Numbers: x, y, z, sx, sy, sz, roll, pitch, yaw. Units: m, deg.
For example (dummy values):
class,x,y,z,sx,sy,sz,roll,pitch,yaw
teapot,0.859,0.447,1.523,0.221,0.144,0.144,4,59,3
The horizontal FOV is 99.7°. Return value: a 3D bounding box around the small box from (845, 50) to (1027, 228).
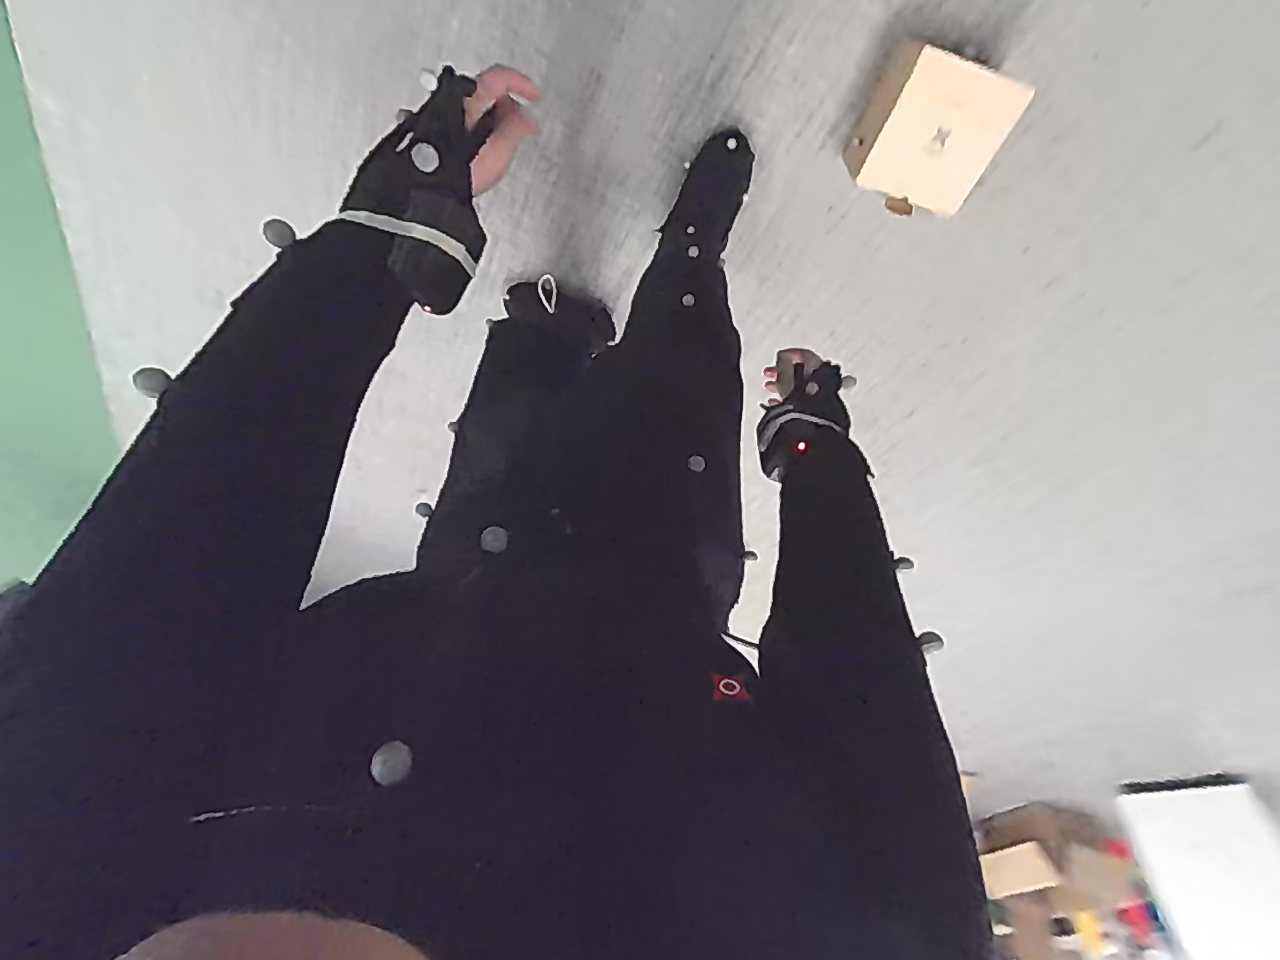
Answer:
class,x,y,z,sx,sy,sz,roll,pitch,yaw
small box,0.436,-0.528,0.836,0.168,0.176,0.179,18,132,-5
